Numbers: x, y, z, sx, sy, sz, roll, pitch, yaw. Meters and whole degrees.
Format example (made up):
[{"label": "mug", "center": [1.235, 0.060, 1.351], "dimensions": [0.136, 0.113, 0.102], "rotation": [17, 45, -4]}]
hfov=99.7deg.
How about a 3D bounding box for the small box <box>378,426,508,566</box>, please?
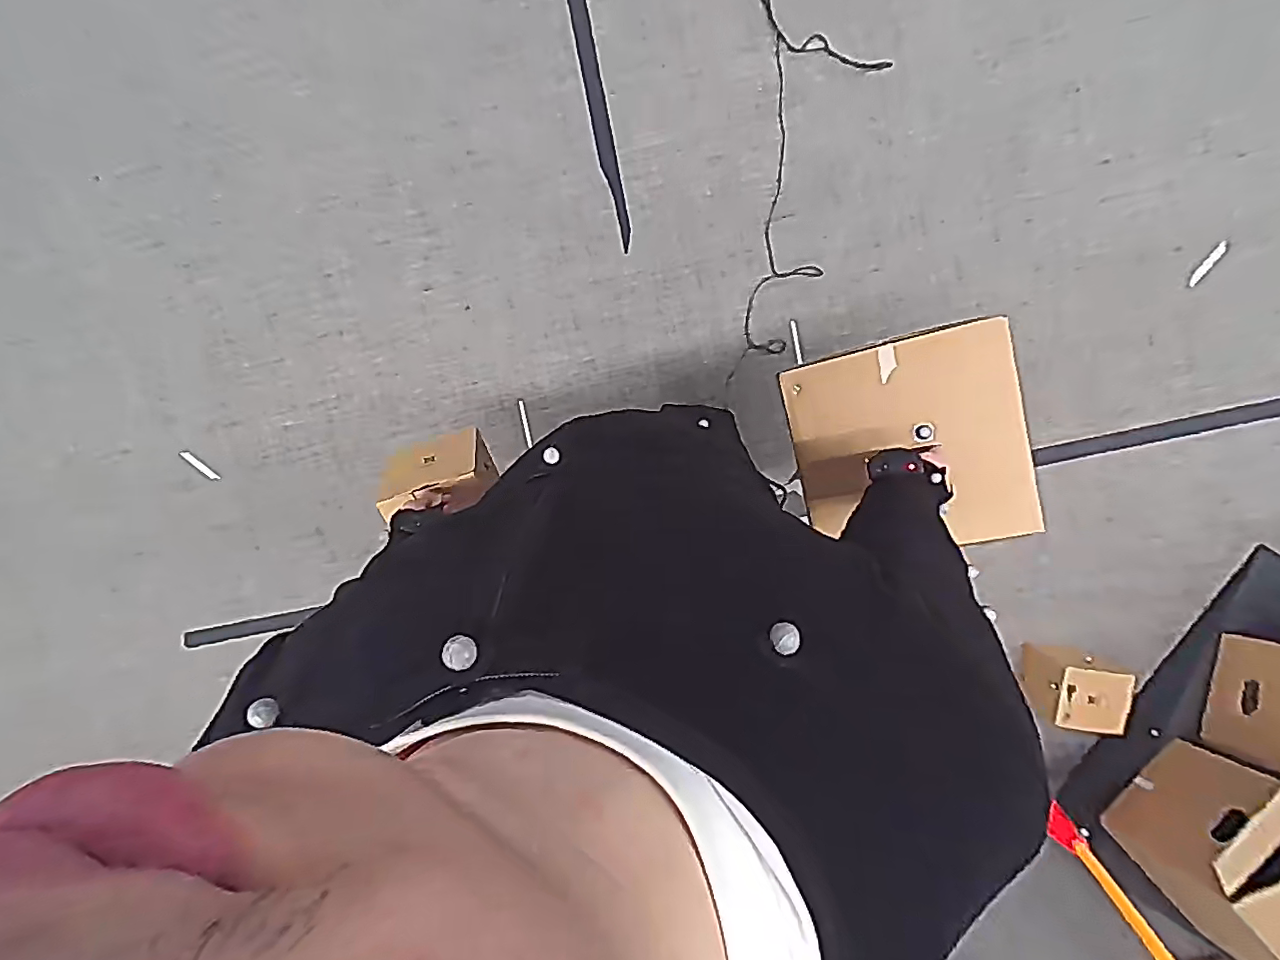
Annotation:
[{"label": "small box", "center": [-0.346, 0.034, 0.980], "dimensions": [0.168, 0.179, 0.176], "rotation": [-18, 126, -6]}]
